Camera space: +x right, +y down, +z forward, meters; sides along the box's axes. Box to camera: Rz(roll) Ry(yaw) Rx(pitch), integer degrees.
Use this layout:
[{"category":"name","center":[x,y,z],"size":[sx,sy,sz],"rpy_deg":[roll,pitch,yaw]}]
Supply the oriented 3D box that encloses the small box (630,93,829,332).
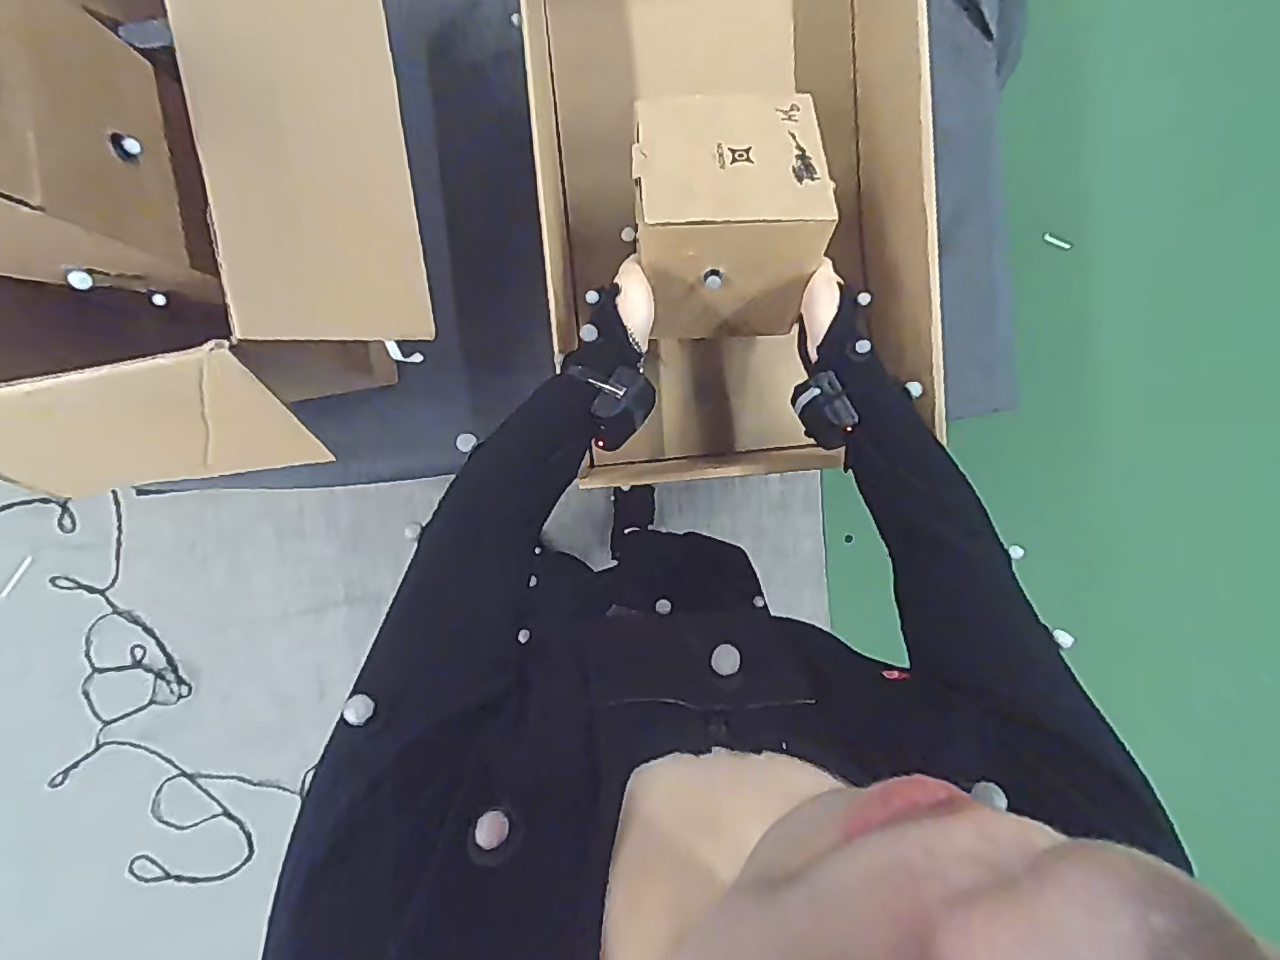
[{"category":"small box","center":[0.081,-0.275,0.581],"size":[0.179,0.176,0.168],"rpy_deg":[-2,70,-1]}]

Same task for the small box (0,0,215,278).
[{"category":"small box","center":[-0.502,-0.281,0.448],"size":[0.168,0.176,0.179],"rpy_deg":[-4,97,-1]}]
